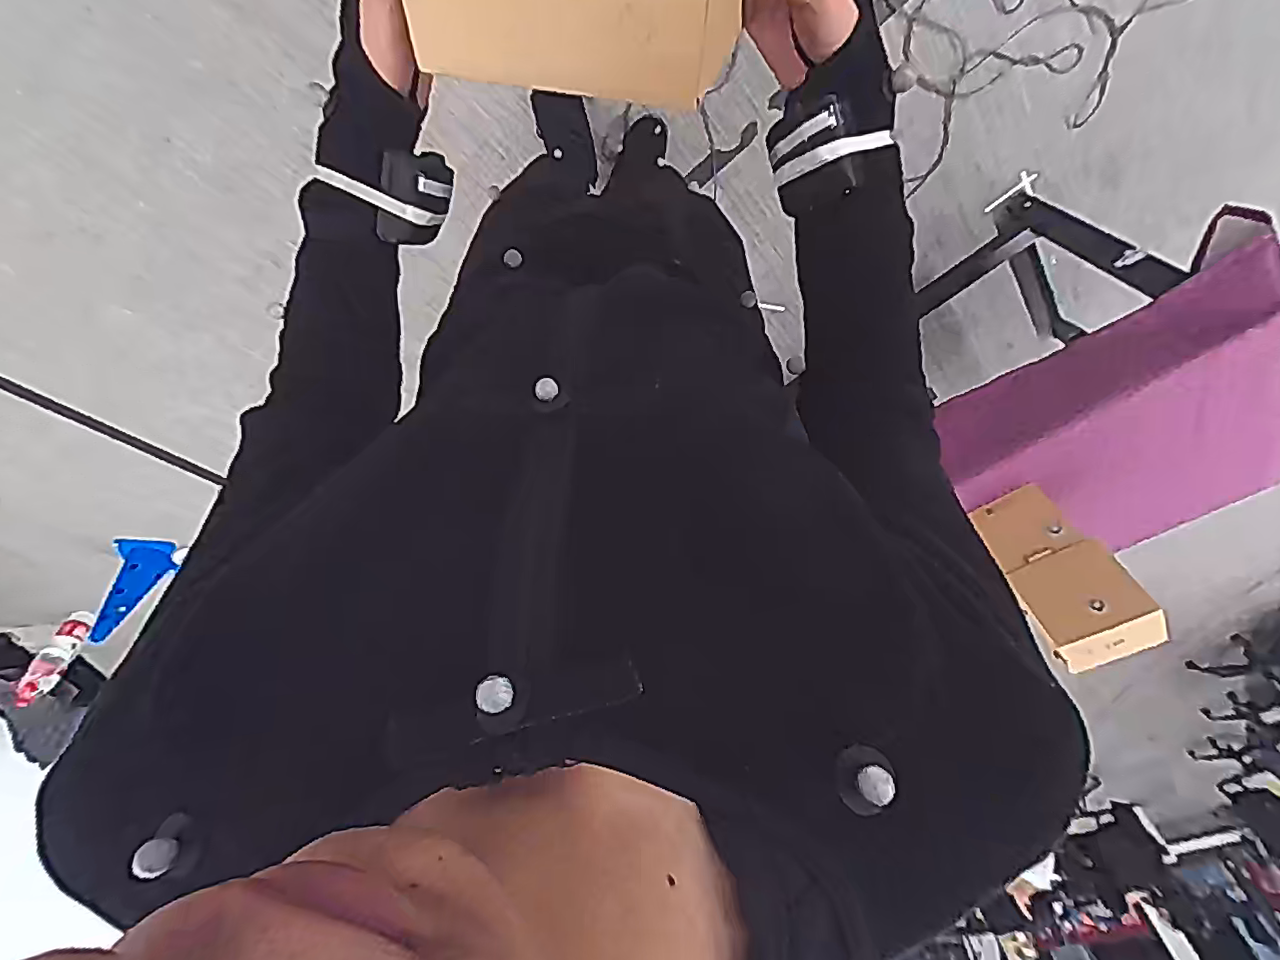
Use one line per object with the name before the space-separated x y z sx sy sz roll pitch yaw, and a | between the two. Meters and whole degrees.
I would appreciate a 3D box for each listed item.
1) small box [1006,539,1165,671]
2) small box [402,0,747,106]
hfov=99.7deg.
small box | 0.874 0.246 1.070 0.179 0.176 0.168 -33 129 22
small box | -0.023 -0.332 0.278 0.168 0.176 0.179 14 143 8
